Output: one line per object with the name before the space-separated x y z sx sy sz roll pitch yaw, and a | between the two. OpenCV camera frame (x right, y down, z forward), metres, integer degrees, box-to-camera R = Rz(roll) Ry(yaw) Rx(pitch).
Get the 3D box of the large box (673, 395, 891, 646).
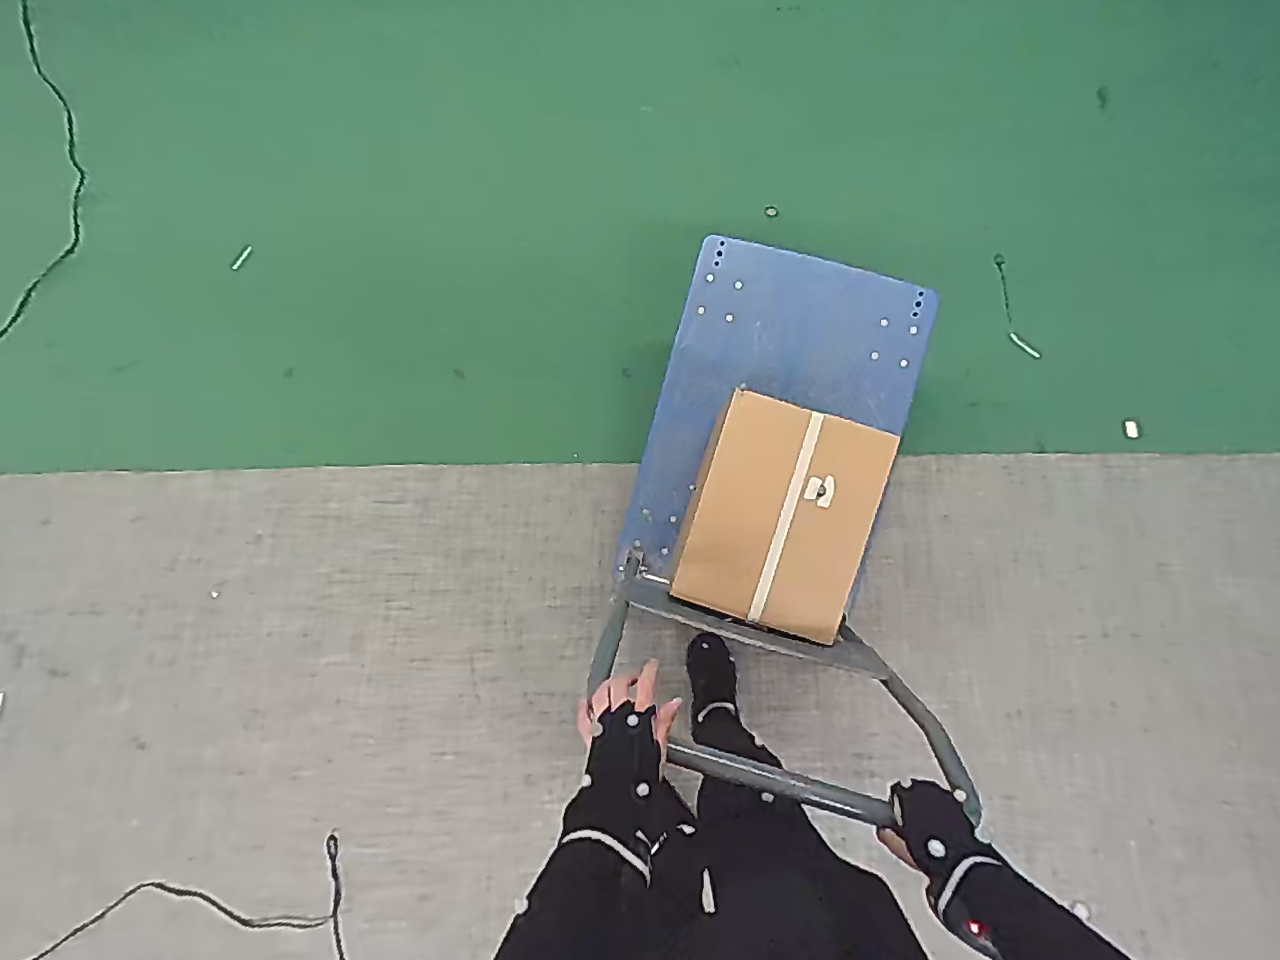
large box | 0.267 0.077 1.139 0.320 0.320 0.408 17 90 2
